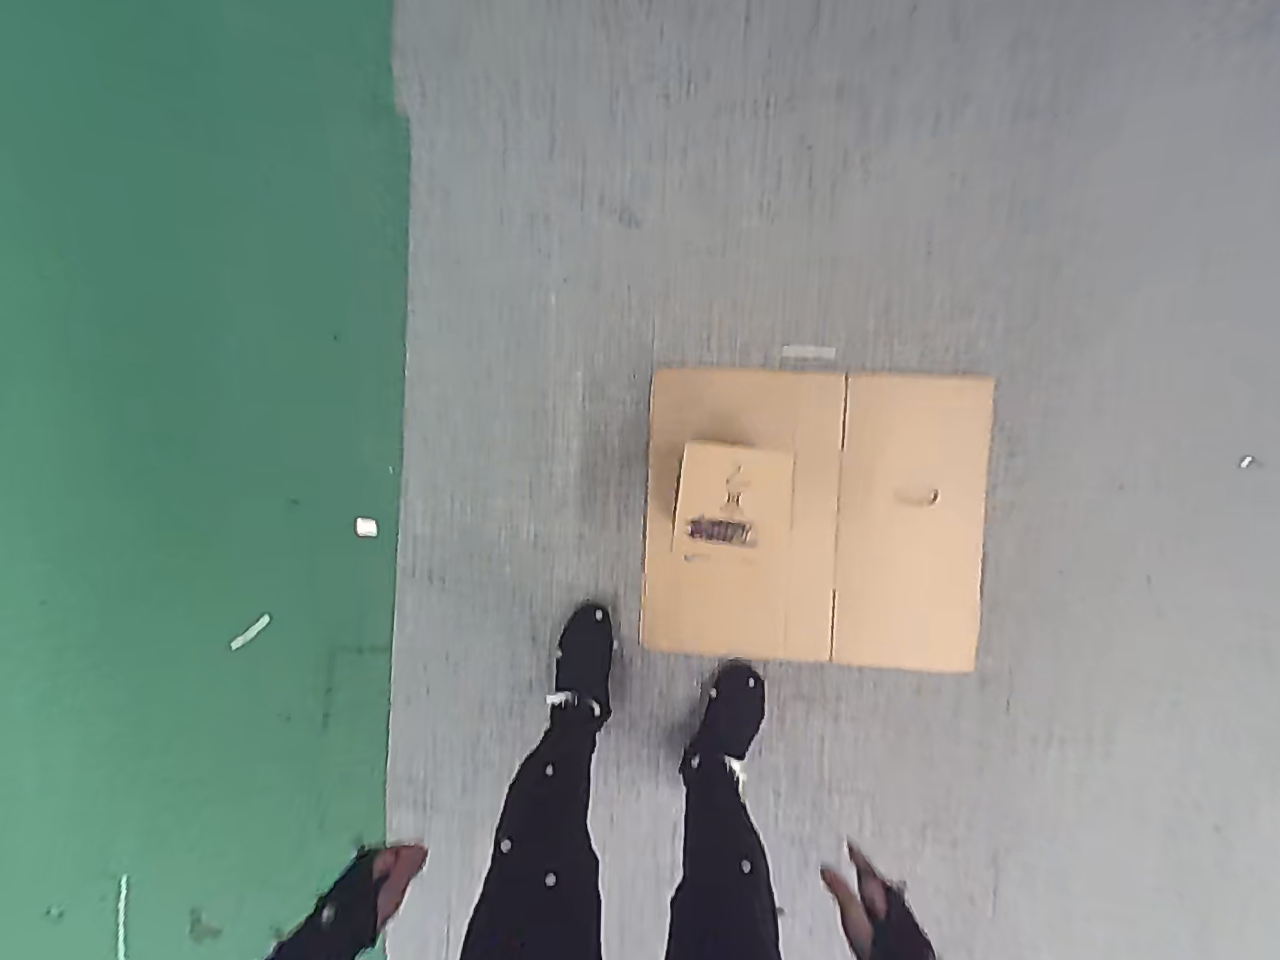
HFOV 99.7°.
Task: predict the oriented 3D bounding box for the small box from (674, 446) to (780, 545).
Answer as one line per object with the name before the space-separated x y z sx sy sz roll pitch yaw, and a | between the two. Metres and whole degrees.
small box | 0.165 0.027 1.066 0.179 0.176 0.168 7 92 4
